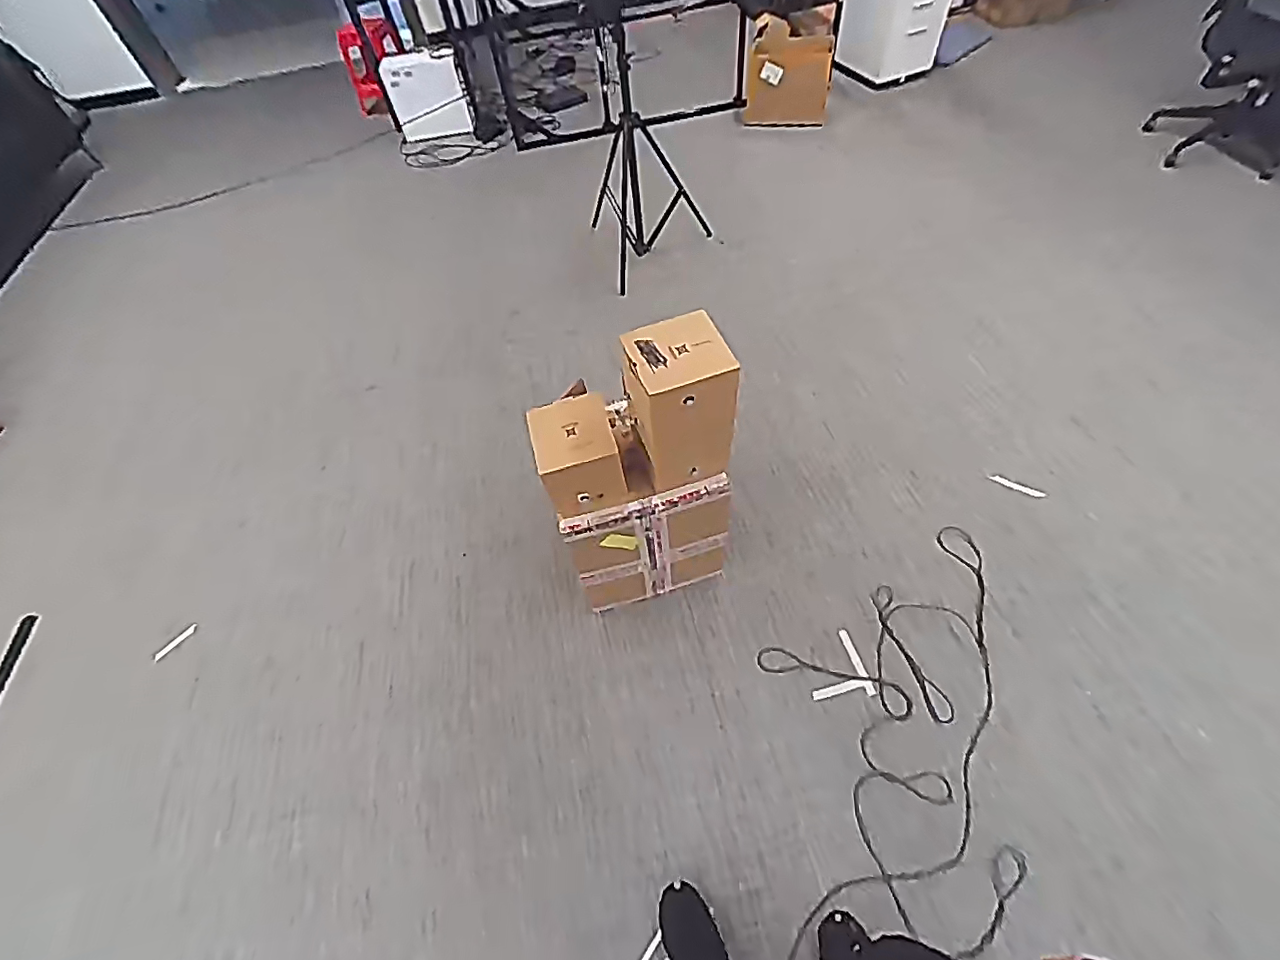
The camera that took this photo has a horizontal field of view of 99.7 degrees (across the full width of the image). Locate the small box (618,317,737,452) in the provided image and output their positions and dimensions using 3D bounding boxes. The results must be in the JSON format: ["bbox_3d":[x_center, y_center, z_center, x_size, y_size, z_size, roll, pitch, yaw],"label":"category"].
[{"bbox_3d":[0.072,-0.179,1.051,0.179,0.176,0.168,-19,59,-8],"label":"small box"}]

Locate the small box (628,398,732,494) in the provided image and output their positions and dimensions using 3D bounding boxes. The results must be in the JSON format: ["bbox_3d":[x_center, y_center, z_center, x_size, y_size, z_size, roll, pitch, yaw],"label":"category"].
[{"bbox_3d":[0.084,-0.096,1.194,0.179,0.176,0.168,-19,58,-8],"label":"small box"}]

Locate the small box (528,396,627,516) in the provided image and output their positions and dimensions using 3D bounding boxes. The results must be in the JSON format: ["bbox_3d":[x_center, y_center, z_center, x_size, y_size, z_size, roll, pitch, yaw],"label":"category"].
[{"bbox_3d":[-0.133,-0.049,1.184,0.168,0.176,0.179,-17,59,-3],"label":"small box"}]
